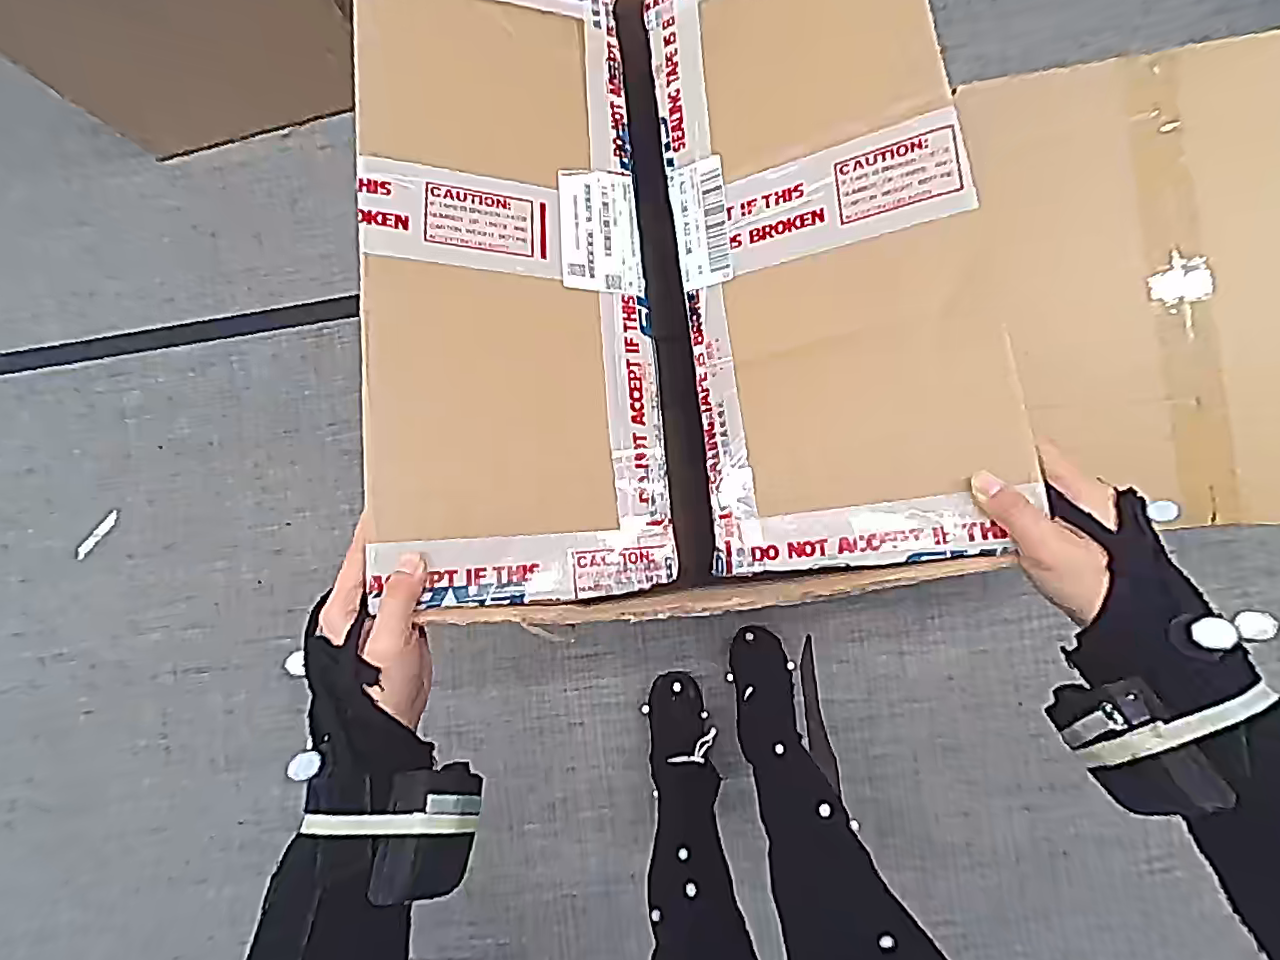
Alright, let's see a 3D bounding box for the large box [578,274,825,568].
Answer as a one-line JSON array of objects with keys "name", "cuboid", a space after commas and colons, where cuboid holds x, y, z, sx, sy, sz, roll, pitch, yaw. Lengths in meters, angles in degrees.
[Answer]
[{"name": "large box", "cuboid": [0.097, -0.083, 0.945, 0.320, 0.320, 0.408, -9, 87, 5]}]
